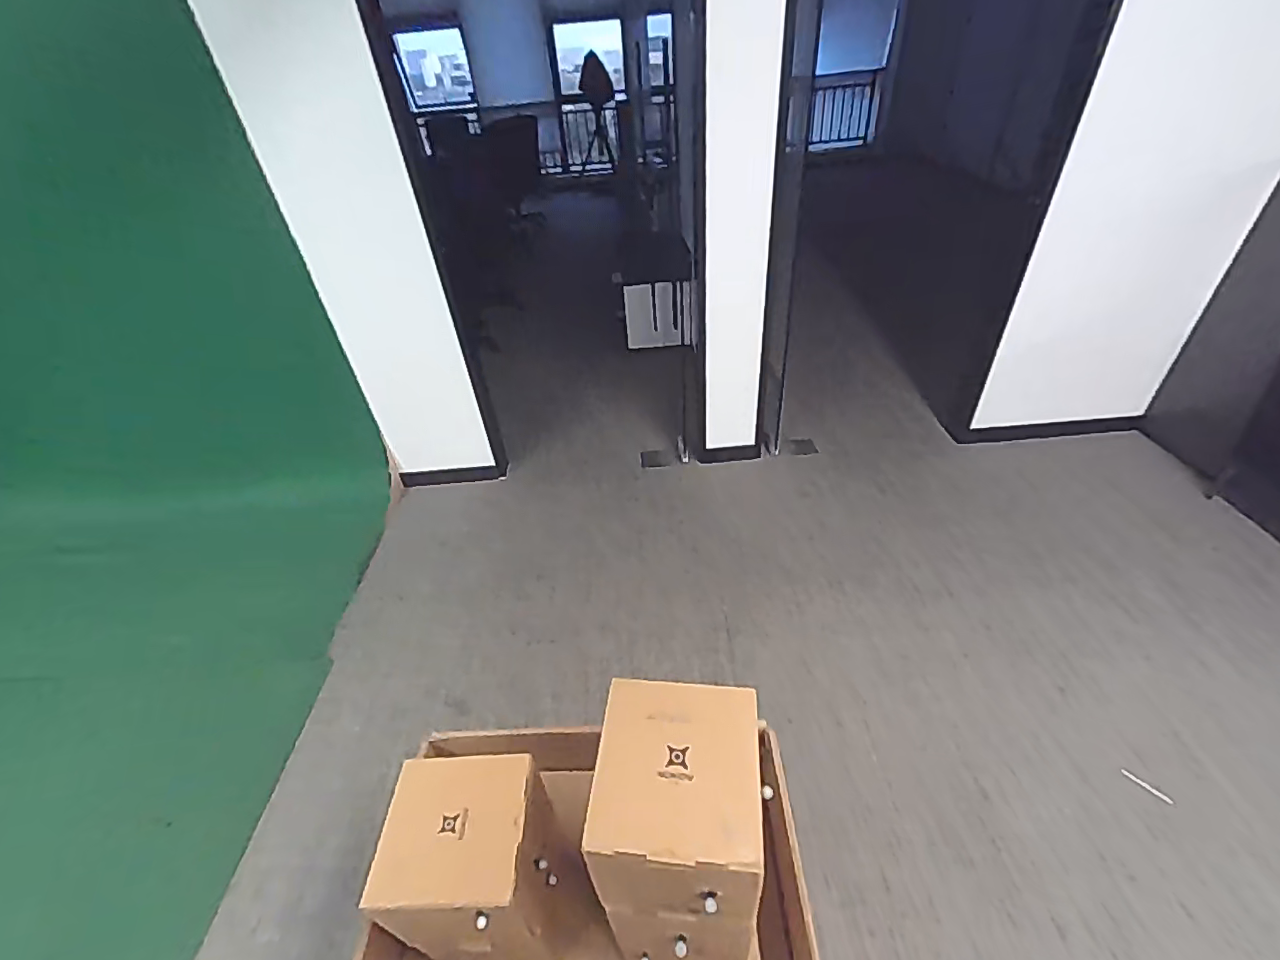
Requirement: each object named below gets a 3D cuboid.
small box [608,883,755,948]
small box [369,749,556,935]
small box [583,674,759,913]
[{"bbox_3d":[0.061,0.473,0.699,0.168,0.176,0.179,0,40,8],"label":"small box"},{"bbox_3d":[-0.220,0.486,0.725,0.179,0.176,0.168,-4,39,2],"label":"small box"},{"bbox_3d":[0.045,0.344,0.598,0.168,0.176,0.179,1,38,9],"label":"small box"}]
